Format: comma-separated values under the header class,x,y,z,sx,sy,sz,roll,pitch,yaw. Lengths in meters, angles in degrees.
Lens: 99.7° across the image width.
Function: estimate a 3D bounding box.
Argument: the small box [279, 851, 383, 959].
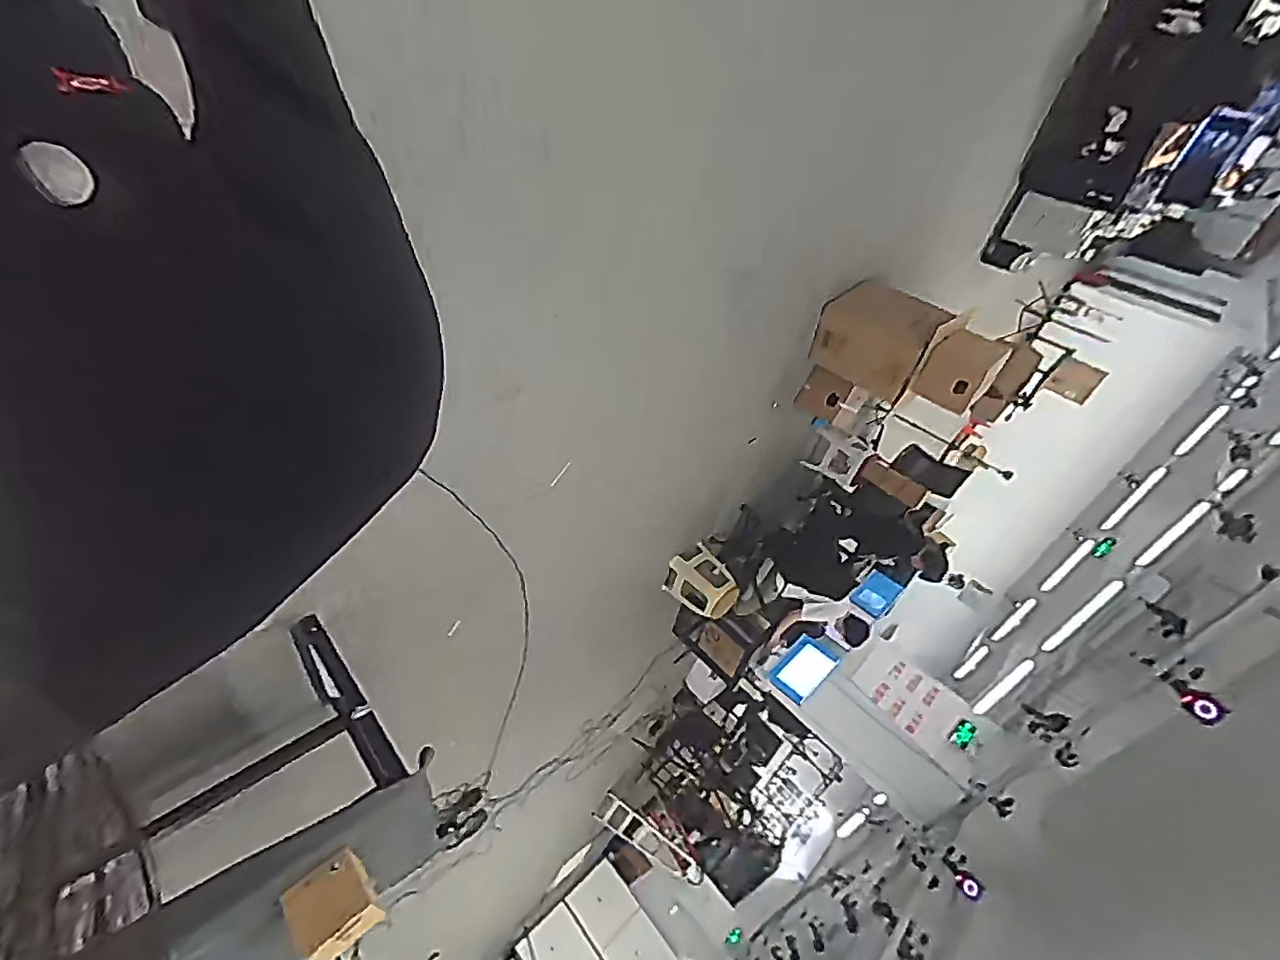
class,x,y,z,sx,sy,sz,roll,pitch,yaw
small box,-0.805,1.116,1.410,0.168,0.176,0.179,-30,147,-34
